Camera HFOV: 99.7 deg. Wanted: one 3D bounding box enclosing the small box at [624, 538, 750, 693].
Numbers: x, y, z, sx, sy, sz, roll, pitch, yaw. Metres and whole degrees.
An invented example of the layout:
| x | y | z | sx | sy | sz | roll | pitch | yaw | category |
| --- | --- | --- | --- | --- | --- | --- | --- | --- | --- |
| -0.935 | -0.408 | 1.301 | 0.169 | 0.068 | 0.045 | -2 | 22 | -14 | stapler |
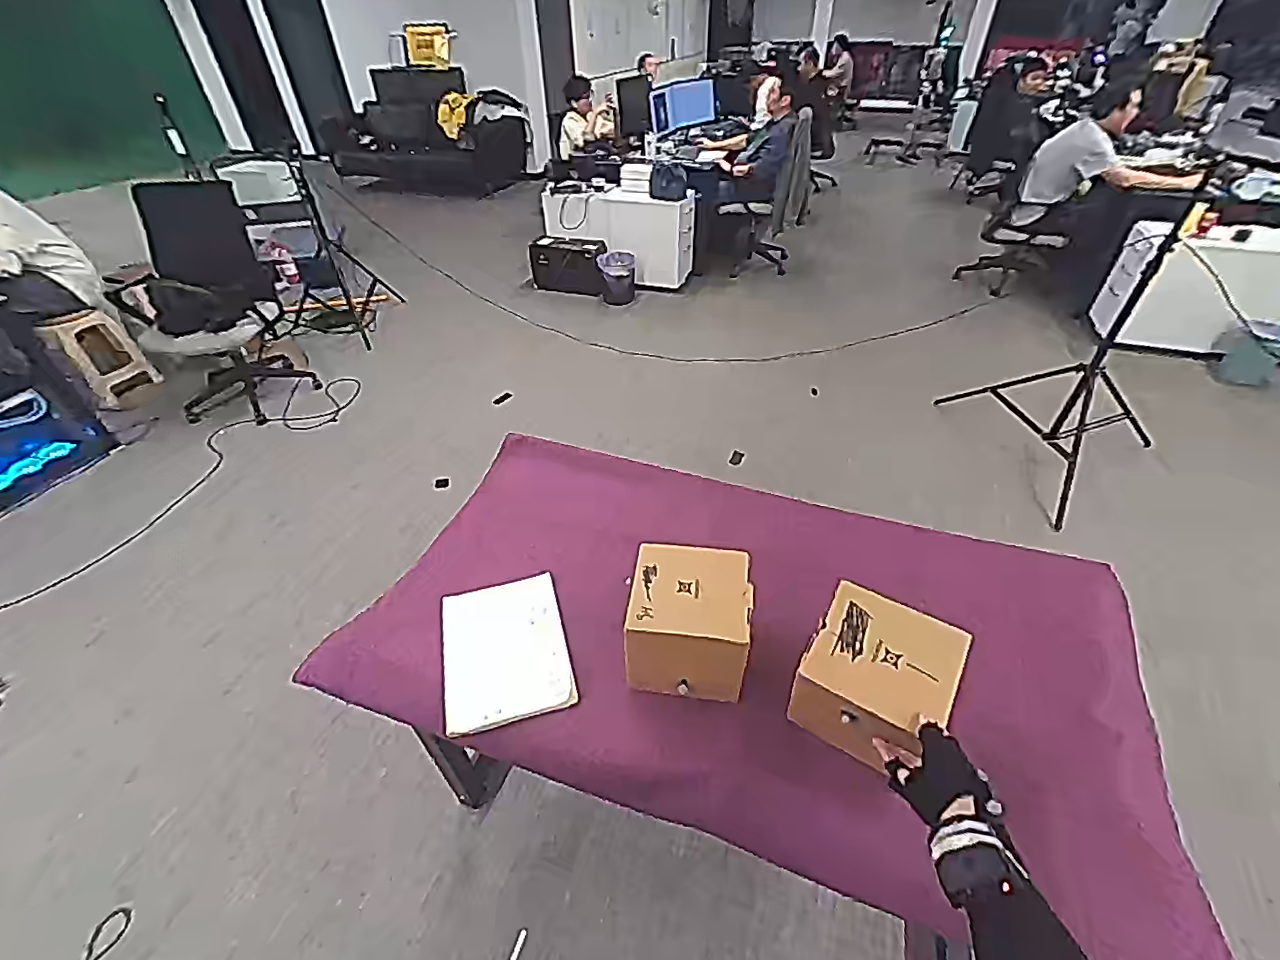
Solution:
| x | y | z | sx | sy | sz | roll | pitch | yaw | category |
| --- | --- | --- | --- | --- | --- | --- | --- | --- | --- |
| 0.075 | 0.215 | 0.855 | 0.179 | 0.176 | 0.168 | 5 | 40 | 7 | small box |

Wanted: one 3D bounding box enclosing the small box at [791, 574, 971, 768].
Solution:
| x | y | z | sx | sy | sz | roll | pitch | yaw | category |
| --- | --- | --- | --- | --- | --- | --- | --- | --- | --- |
| 0.328 | 0.271 | 0.764 | 0.179 | 0.176 | 0.168 | 23 | 54 | 27 | small box |
